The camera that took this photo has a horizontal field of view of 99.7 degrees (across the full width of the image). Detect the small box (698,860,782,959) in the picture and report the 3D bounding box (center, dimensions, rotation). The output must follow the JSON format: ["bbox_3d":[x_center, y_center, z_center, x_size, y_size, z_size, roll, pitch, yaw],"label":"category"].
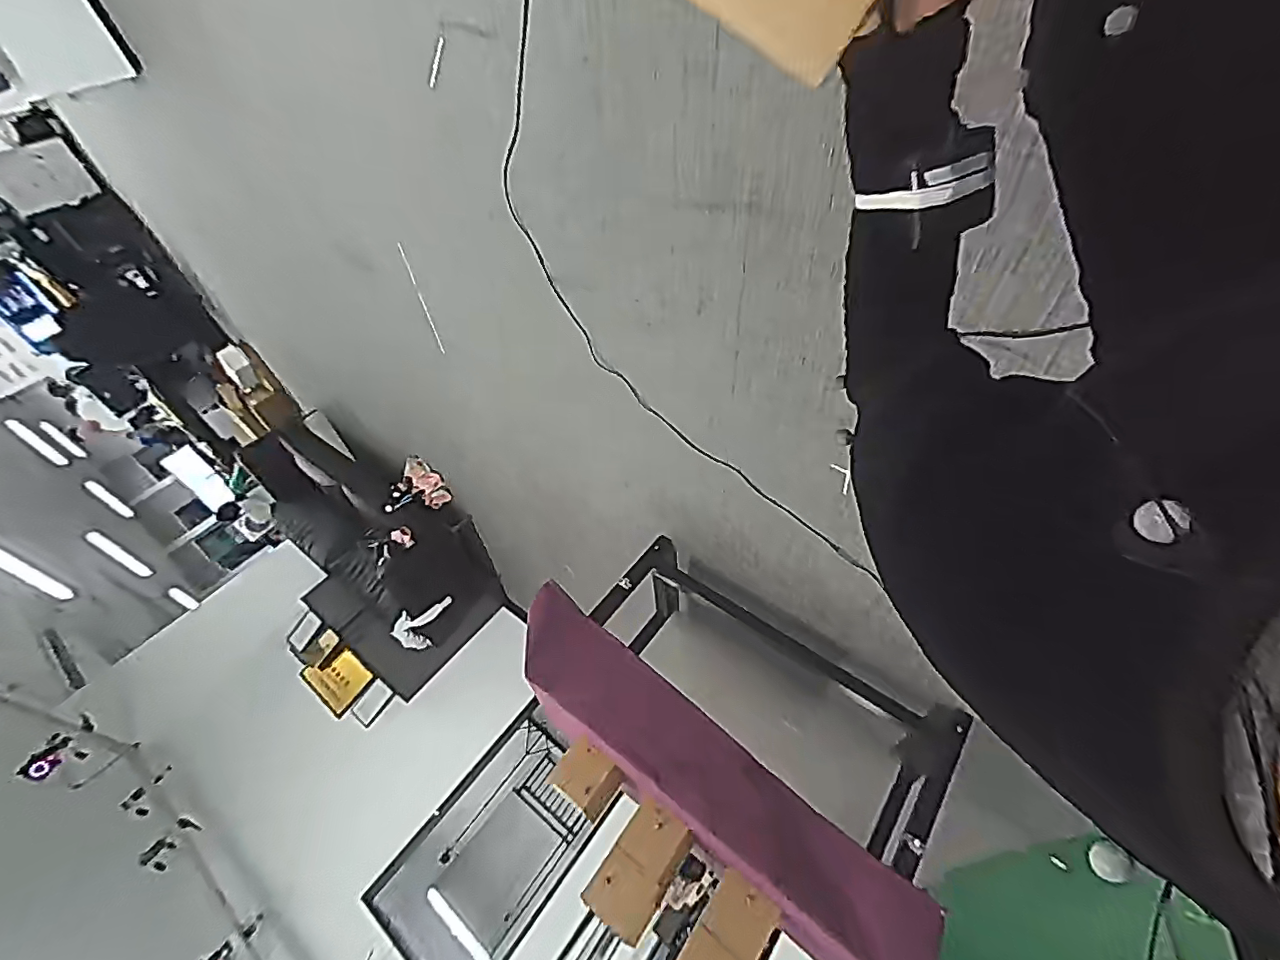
[{"bbox_3d":[0.289,1.247,1.577,0.179,0.176,0.168,27,147,29],"label":"small box"}]

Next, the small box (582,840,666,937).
[{"bbox_3d":[-0.043,1.227,1.636,0.179,0.176,0.168,24,146,31],"label":"small box"}]

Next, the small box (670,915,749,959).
[{"bbox_3d":[0.187,1.350,1.498,0.179,0.176,0.168,27,146,28],"label":"small box"}]

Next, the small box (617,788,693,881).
[{"bbox_3d":[0.055,1.126,1.719,0.168,0.176,0.179,23,144,32],"label":"small box"}]
